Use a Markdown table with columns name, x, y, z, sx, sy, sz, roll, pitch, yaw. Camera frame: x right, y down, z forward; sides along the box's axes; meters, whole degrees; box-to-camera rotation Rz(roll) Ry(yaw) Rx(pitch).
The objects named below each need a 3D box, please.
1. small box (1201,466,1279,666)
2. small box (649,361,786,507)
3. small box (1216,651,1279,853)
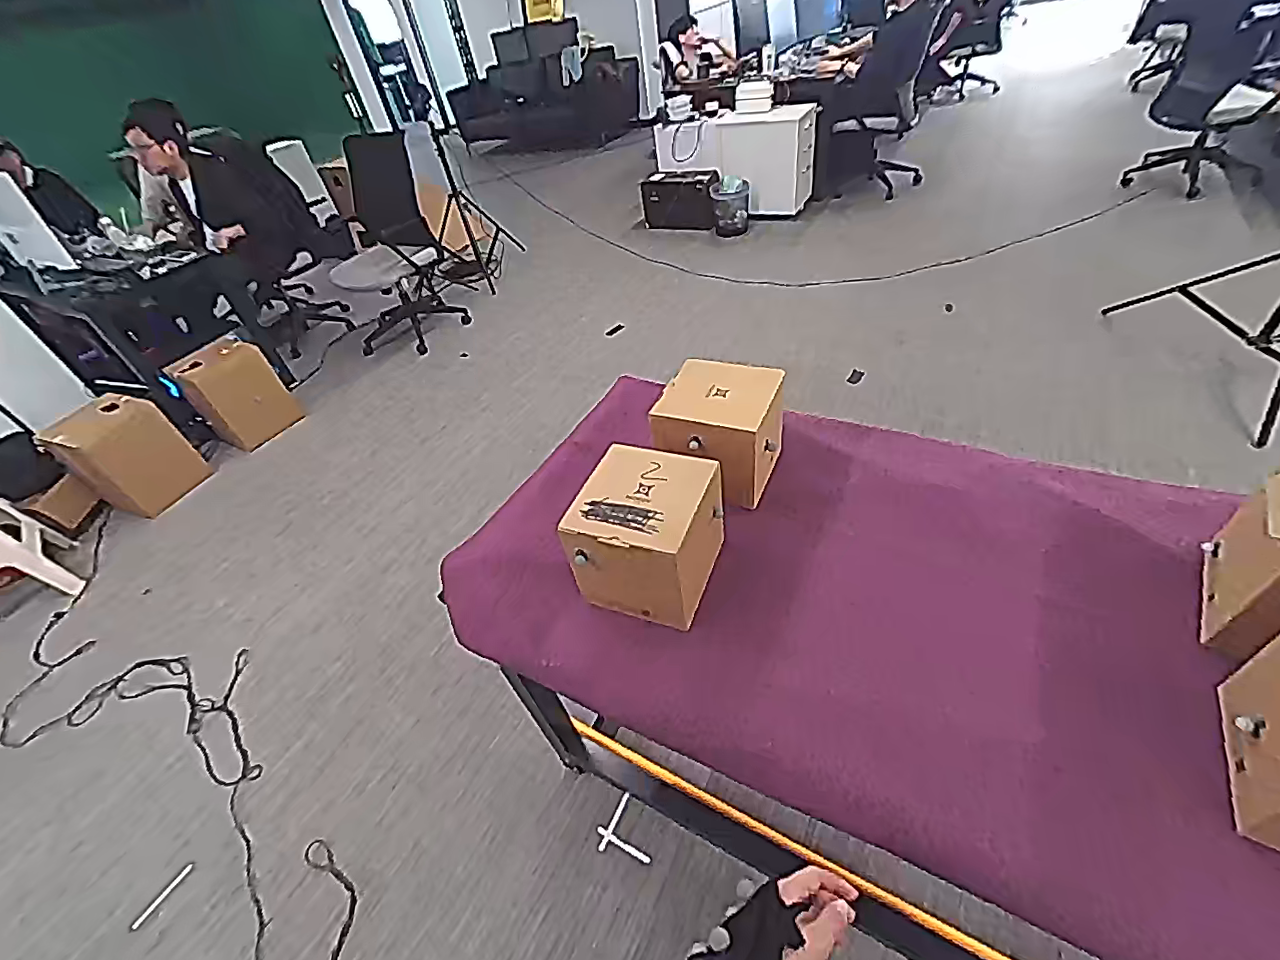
| name | x | y | z | sx | sy | sz | roll | pitch | yaw |
| --- | --- | --- | --- | --- | --- | --- | --- | --- | --- |
| small box | 0.753 | 0.114 | 0.574 | 0.179 | 0.176 | 0.168 | 22 | 54 | 29 |
| small box | 0.136 | -0.076 | 0.911 | 0.179 | 0.176 | 0.168 | 13 | 48 | 24 |
| small box | 0.655 | 0.244 | 0.457 | 0.179 | 0.176 | 0.168 | 17 | 48 | 28 |
